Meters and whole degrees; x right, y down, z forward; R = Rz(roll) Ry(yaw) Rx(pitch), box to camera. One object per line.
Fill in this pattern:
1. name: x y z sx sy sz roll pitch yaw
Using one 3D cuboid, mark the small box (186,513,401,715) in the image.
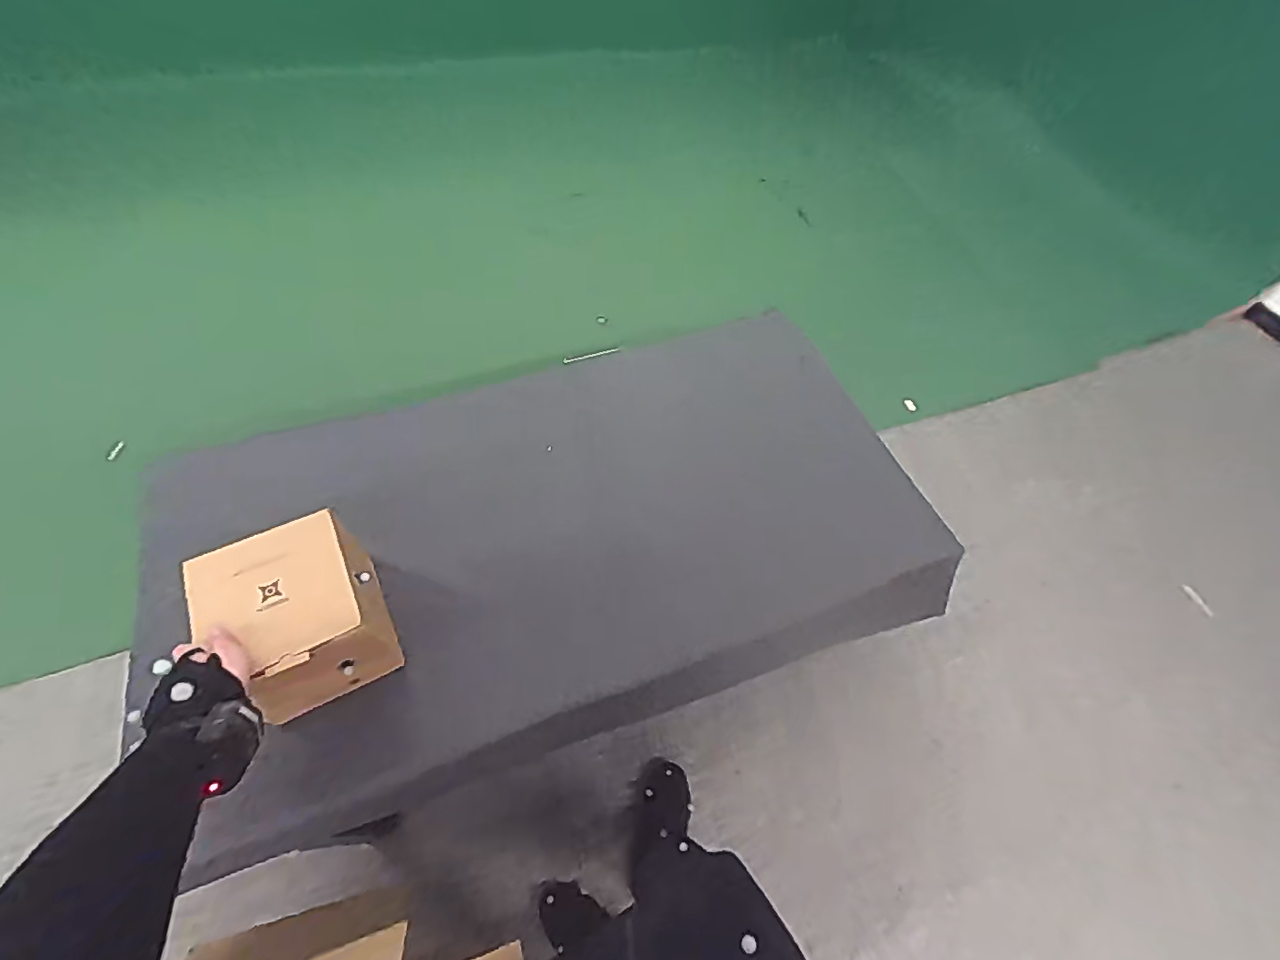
1. small box: -0.431 0.179 0.694 0.168 0.176 0.179 -24 61 -20
